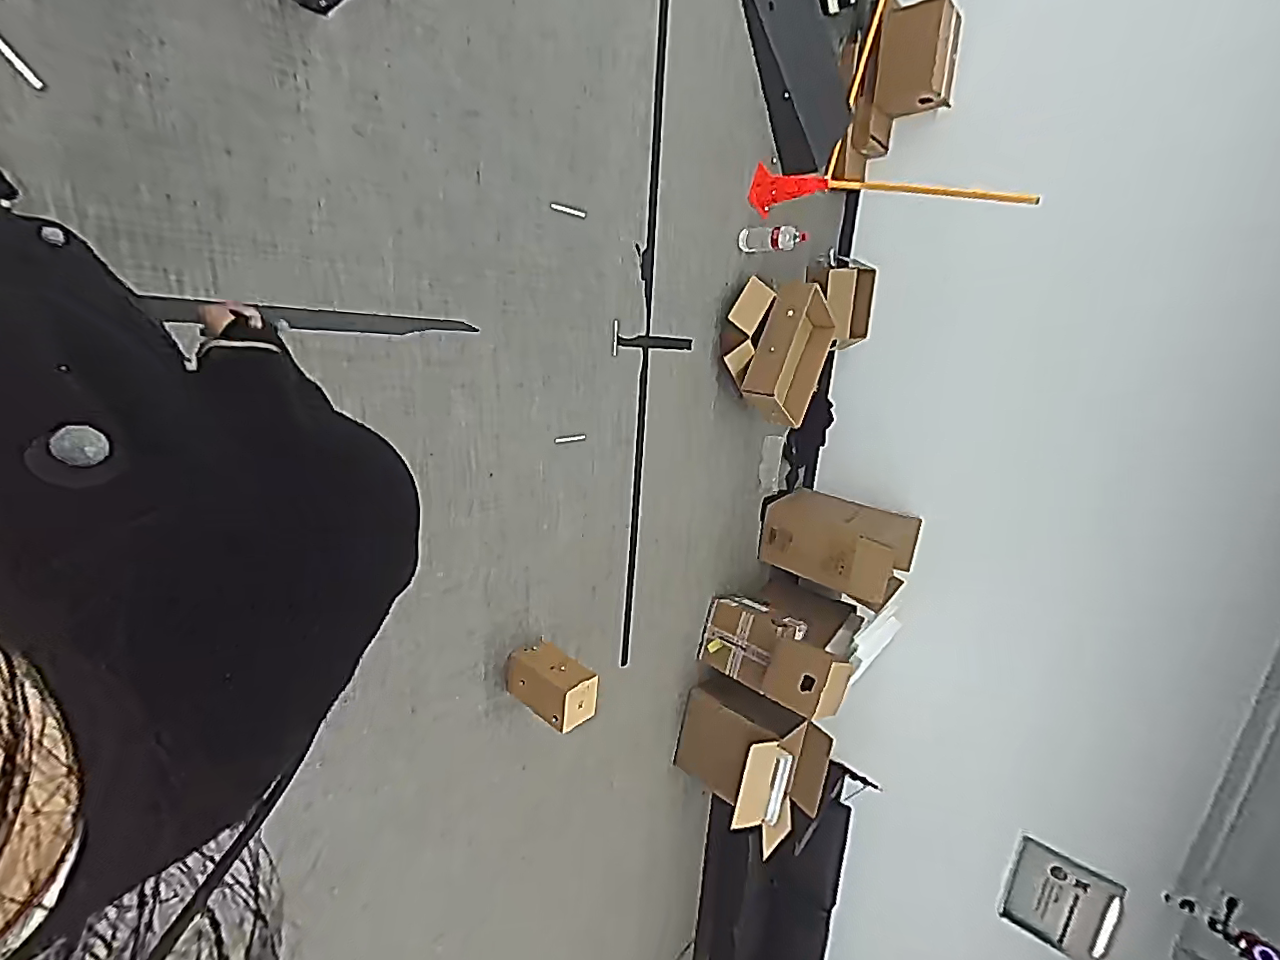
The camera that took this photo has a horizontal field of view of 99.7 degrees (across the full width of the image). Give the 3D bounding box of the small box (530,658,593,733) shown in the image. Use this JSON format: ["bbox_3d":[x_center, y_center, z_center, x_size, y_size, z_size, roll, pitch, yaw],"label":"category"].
[{"bbox_3d":[-0.299,0.803,2.035,0.168,0.176,0.179,-9,110,-50],"label":"small box"}]
